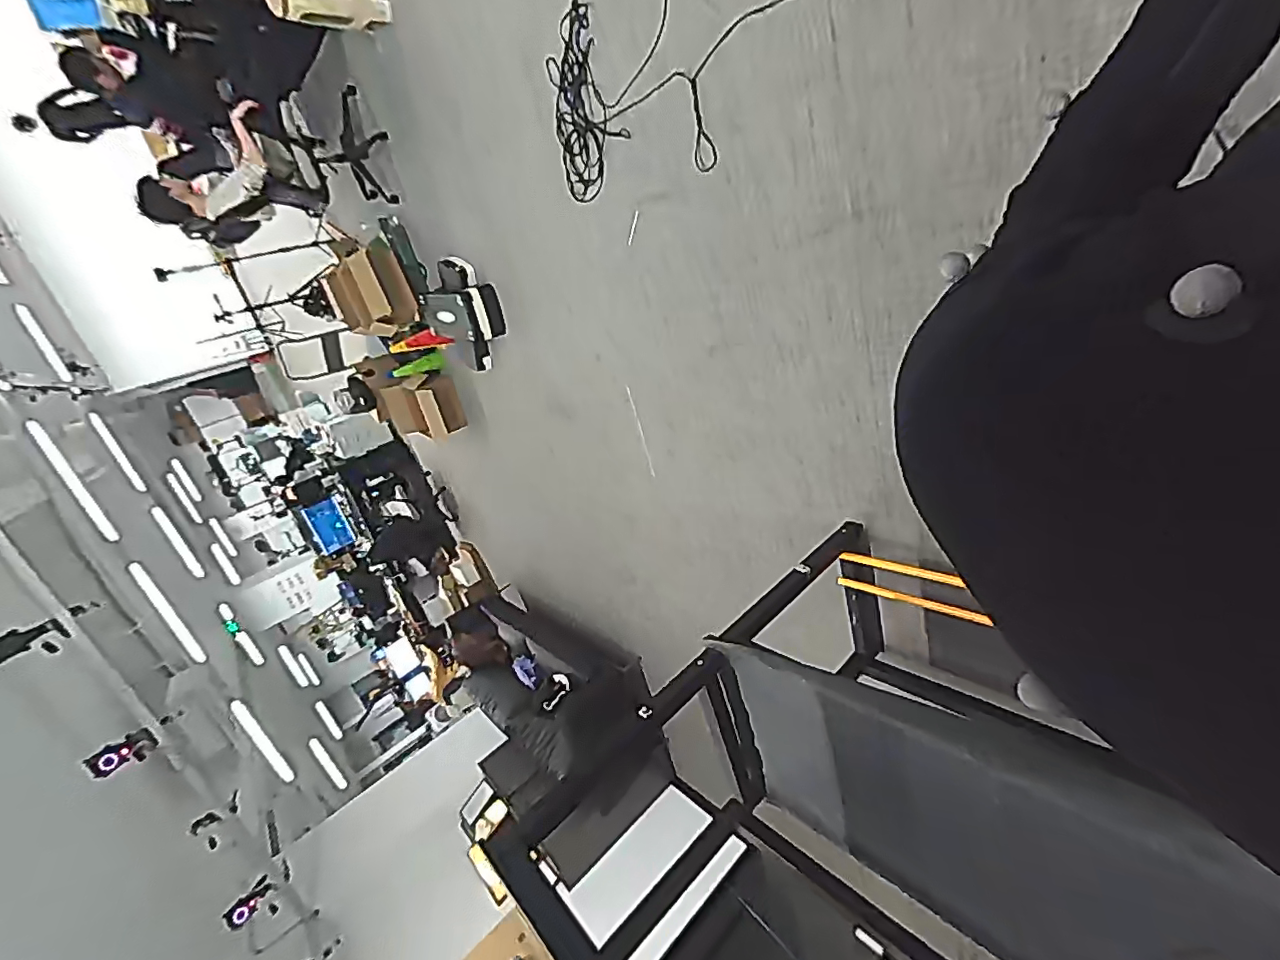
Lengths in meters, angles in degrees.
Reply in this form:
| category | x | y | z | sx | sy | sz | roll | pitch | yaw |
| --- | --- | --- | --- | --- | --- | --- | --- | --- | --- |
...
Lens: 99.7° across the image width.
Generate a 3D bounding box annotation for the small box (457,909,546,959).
| category | x | y | z | sx | sy | sz | roll | pitch | yaw |
| --- | --- | --- | --- | --- | --- | --- | --- | --- | --- |
| small box | -0.248 | 0.982 | 1.022 | 0.168 | 0.176 | 0.179 | 16 | 127 | 47 |
